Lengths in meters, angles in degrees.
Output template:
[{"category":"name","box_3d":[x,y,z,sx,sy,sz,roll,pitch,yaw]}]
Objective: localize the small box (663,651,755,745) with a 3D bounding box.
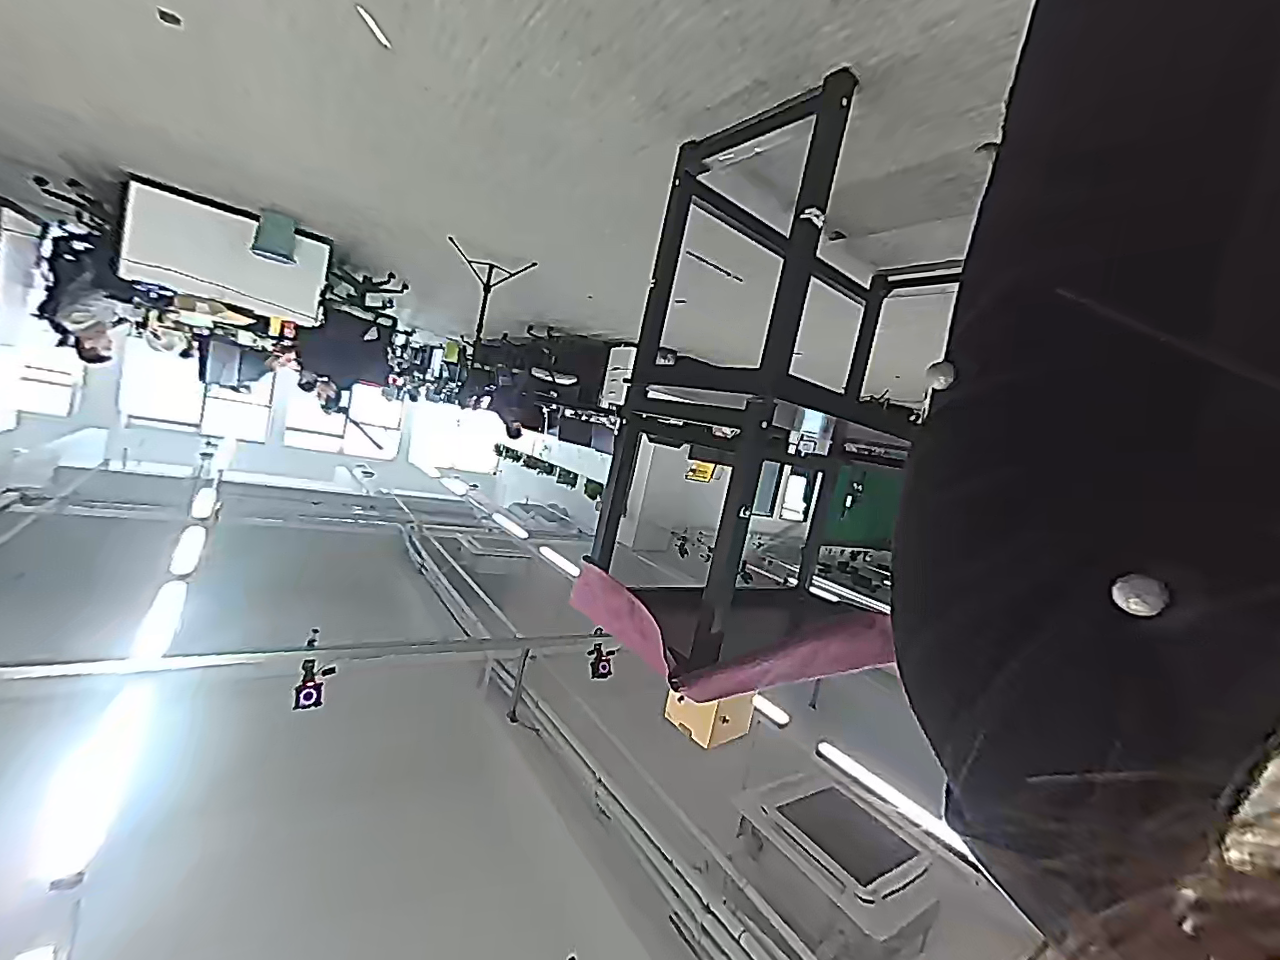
[{"category":"small box","box_3d":[0.191,0.590,1.487,0.179,0.176,0.168,5,-171,-43]}]
